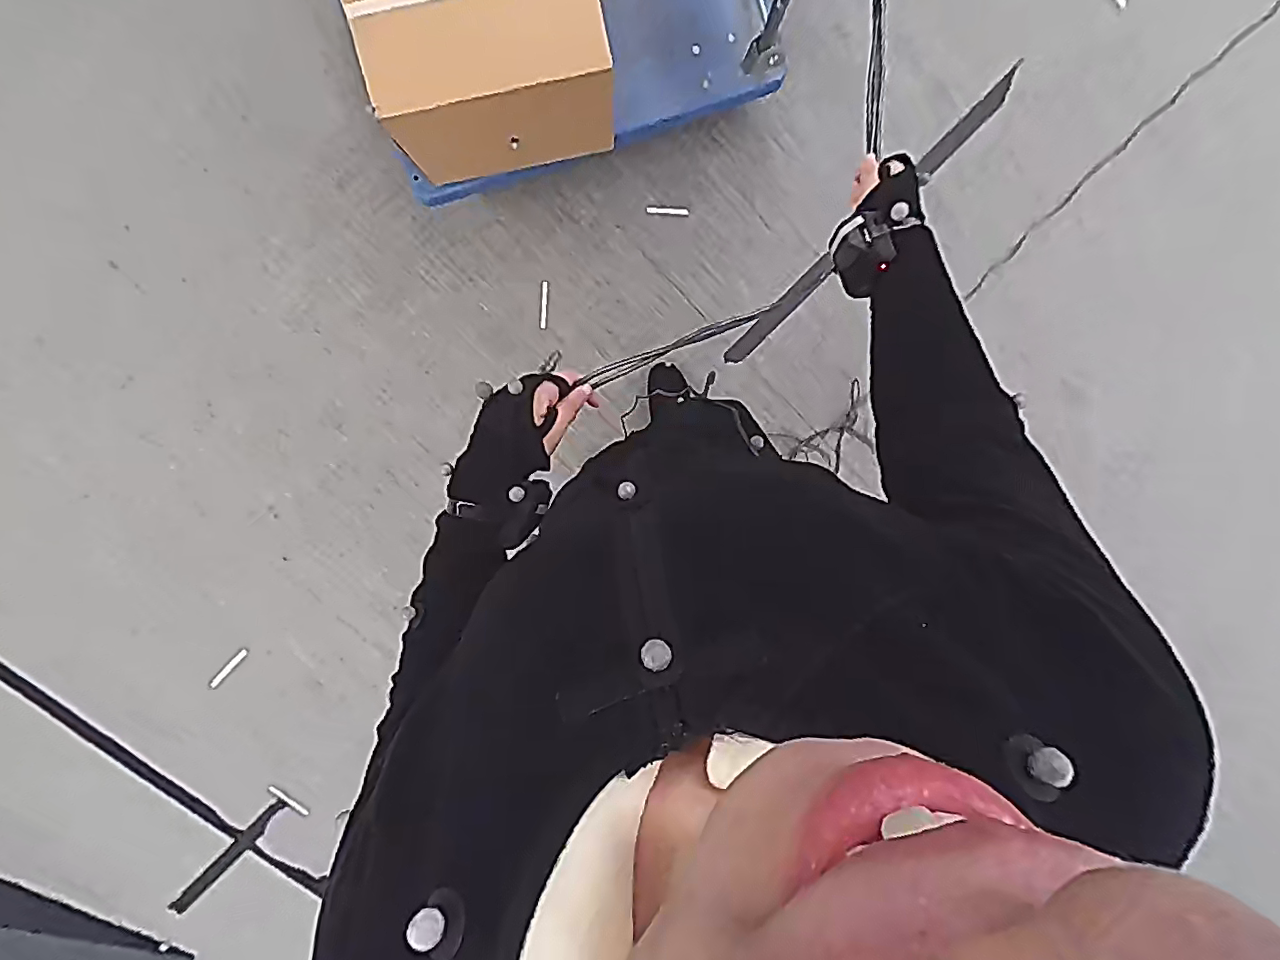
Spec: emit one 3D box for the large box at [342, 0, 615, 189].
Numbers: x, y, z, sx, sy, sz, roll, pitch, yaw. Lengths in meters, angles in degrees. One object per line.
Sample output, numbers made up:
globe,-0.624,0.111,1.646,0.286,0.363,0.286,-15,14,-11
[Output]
large box,-0.276,-0.797,1.009,0.408,0.320,0.320,-13,99,0
